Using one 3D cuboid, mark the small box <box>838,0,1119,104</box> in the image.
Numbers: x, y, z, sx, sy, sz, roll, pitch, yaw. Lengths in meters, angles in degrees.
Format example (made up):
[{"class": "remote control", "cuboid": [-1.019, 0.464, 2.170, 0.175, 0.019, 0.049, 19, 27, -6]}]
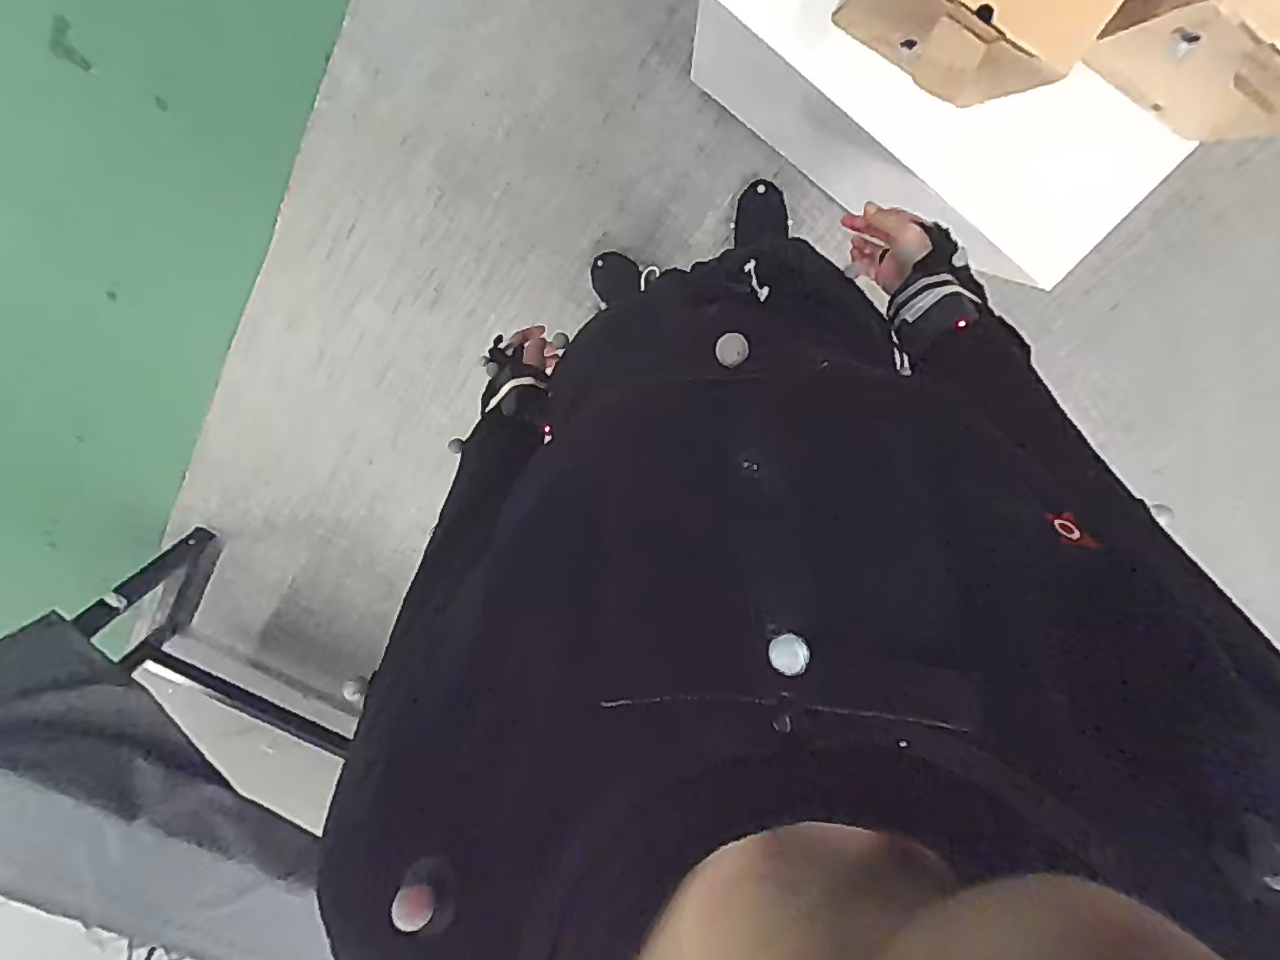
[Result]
[{"class": "small box", "cuboid": [0.286, -0.439, 0.428, 0.168, 0.176, 0.179, 24, 117, -10]}]
